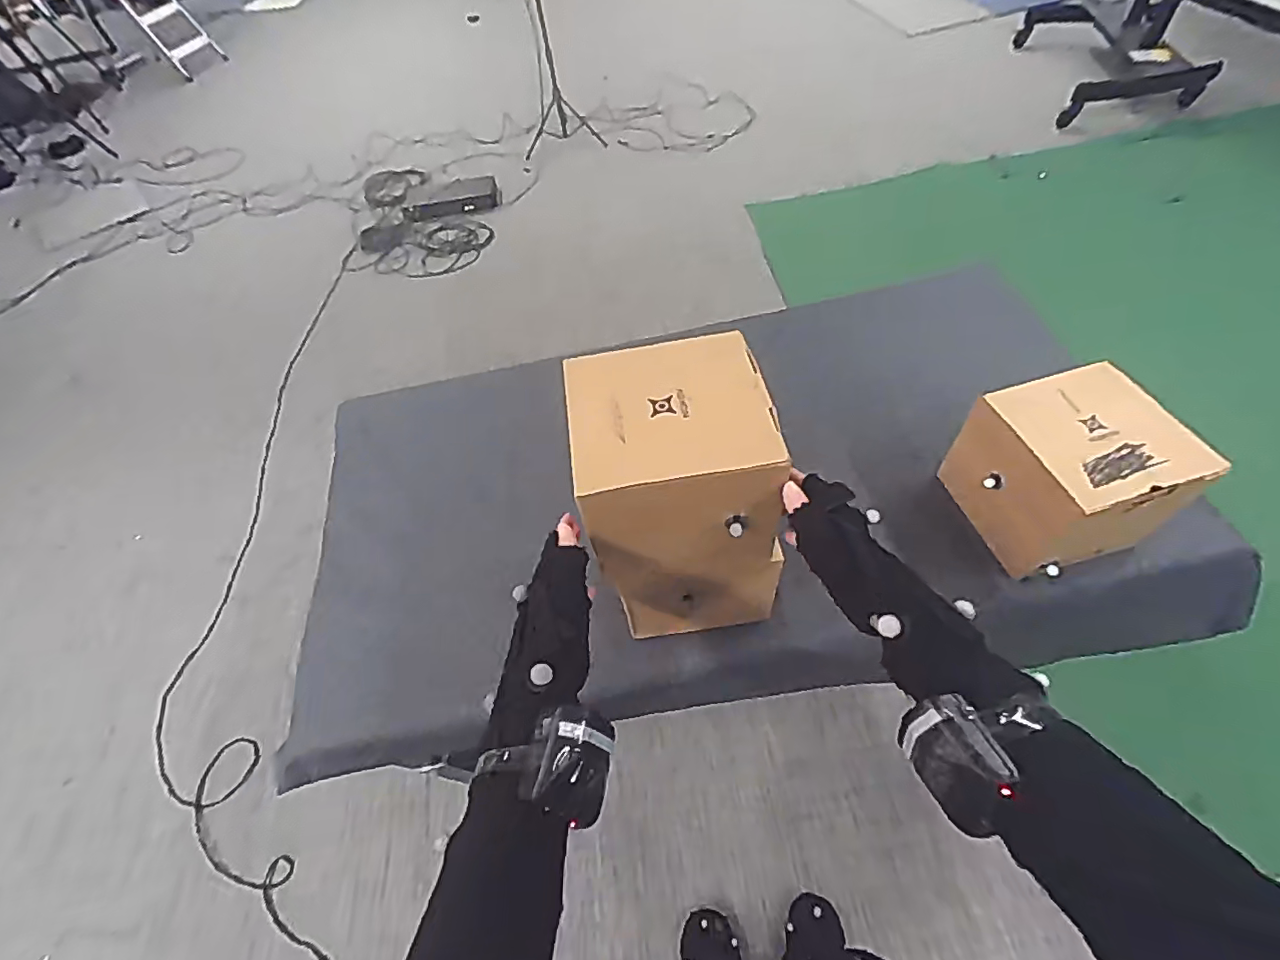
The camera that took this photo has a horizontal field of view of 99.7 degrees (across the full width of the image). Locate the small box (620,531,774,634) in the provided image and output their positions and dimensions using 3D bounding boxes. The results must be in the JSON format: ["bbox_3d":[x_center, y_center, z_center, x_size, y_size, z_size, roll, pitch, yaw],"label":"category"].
[{"bbox_3d":[0.059,0.080,0.679,0.179,0.176,0.168,-9,54,1],"label":"small box"}]

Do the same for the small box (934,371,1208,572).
[{"bbox_3d":[0.510,-0.001,0.677,0.168,0.176,0.179,-15,54,-3],"label":"small box"}]

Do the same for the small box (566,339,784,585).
[{"bbox_3d":[0.031,-0.013,0.548,0.179,0.176,0.168,-10,52,1],"label":"small box"}]
